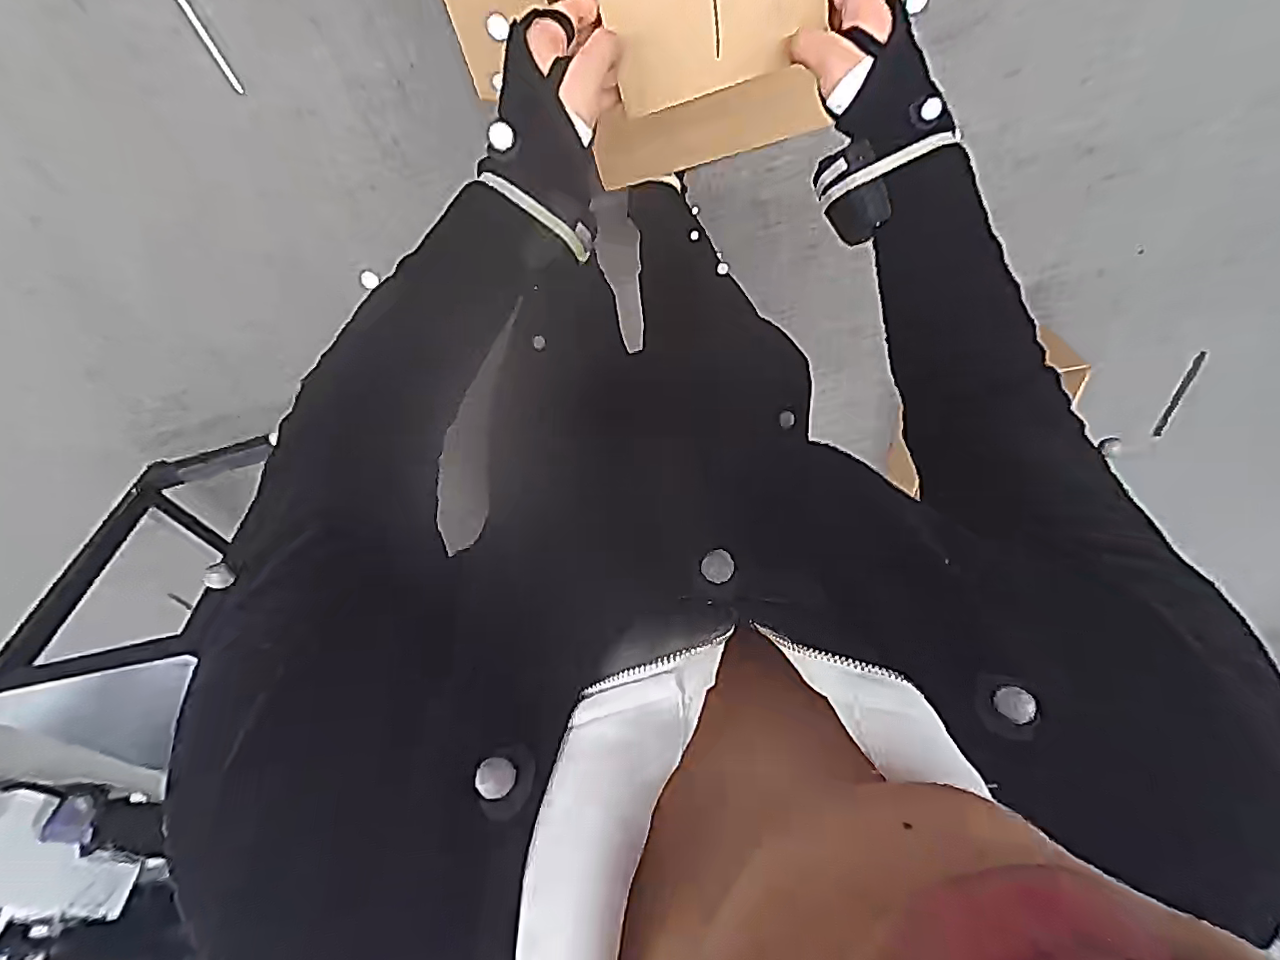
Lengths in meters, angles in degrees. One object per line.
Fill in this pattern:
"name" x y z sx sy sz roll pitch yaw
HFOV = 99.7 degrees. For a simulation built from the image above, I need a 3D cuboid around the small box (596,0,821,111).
"small box" 0.039 -0.440 0.445 0.168 0.176 0.179 -14 133 7
